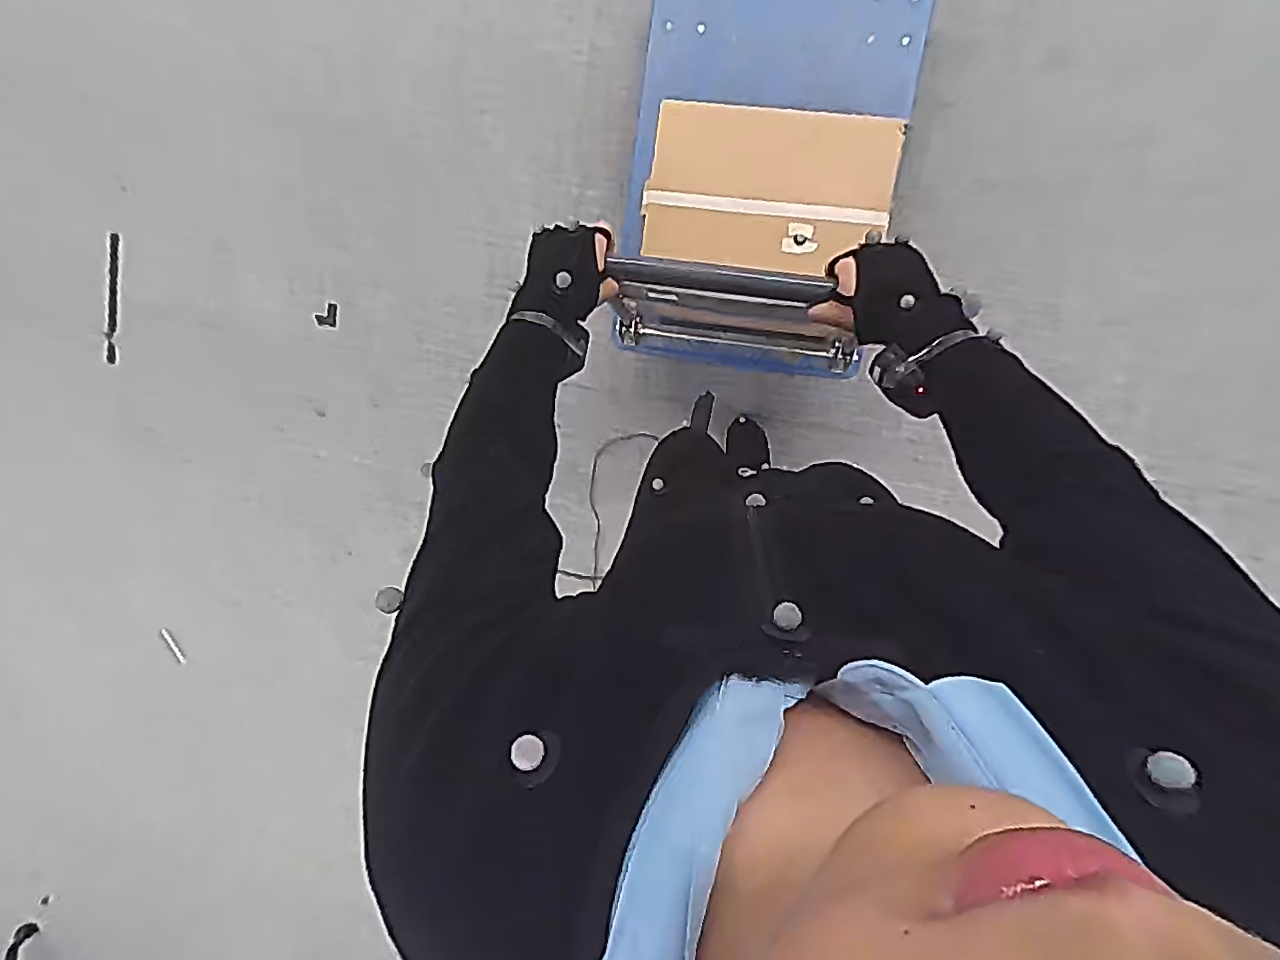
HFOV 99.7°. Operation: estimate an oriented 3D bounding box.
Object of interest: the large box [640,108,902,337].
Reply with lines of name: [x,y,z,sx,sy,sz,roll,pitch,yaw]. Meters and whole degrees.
large box: [0.228,-0.475,1.065,0.408,0.320,0.320,9,100,6]
